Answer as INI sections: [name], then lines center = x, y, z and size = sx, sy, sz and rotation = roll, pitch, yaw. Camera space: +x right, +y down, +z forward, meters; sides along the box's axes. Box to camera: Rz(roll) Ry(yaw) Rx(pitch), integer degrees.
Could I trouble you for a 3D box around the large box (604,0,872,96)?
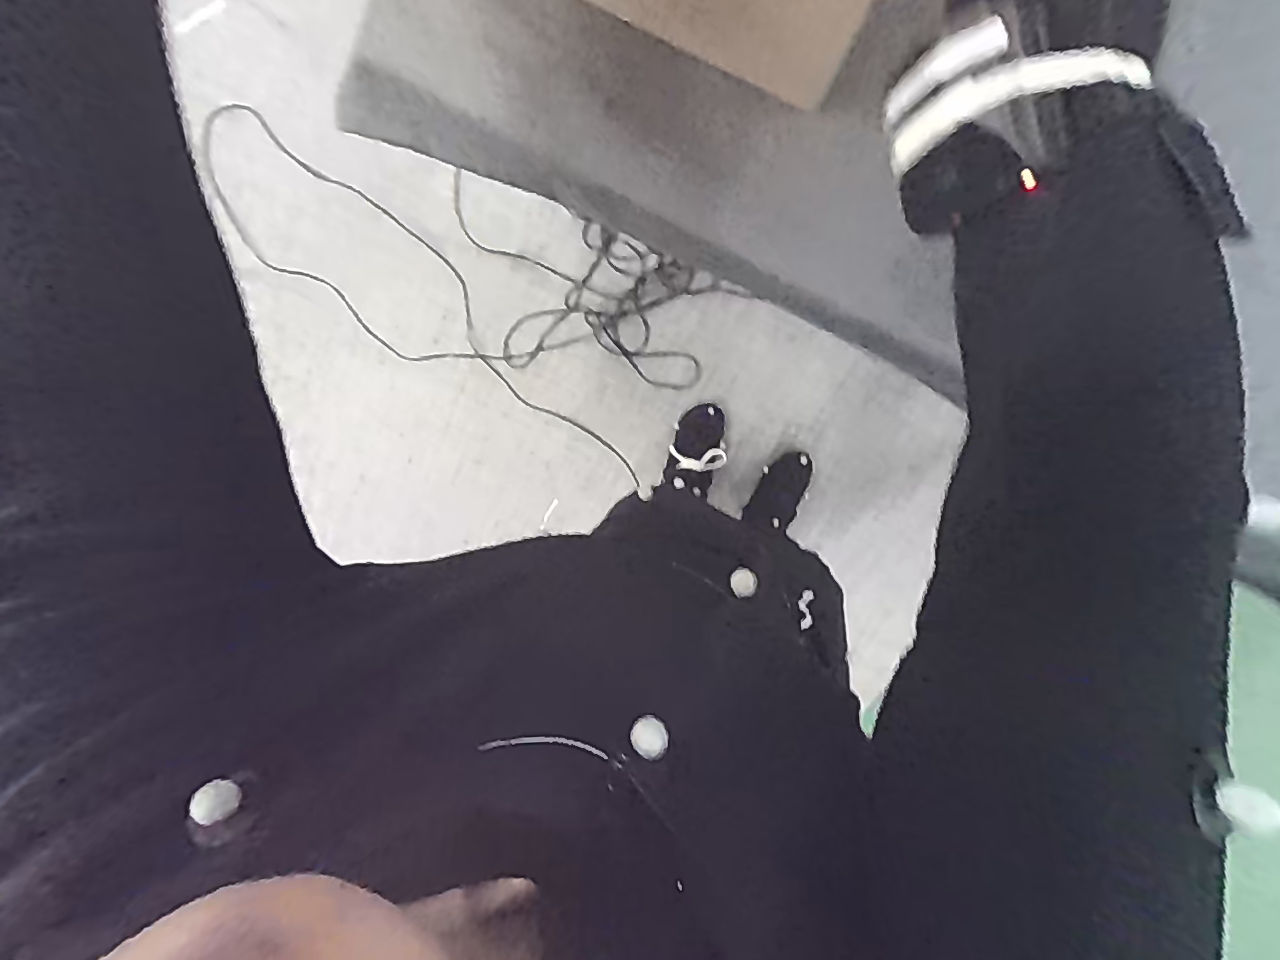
[large box]
center = 0.032, -0.529, 0.316
size = 0.408, 0.320, 0.320
rotation = 26, 106, -1
